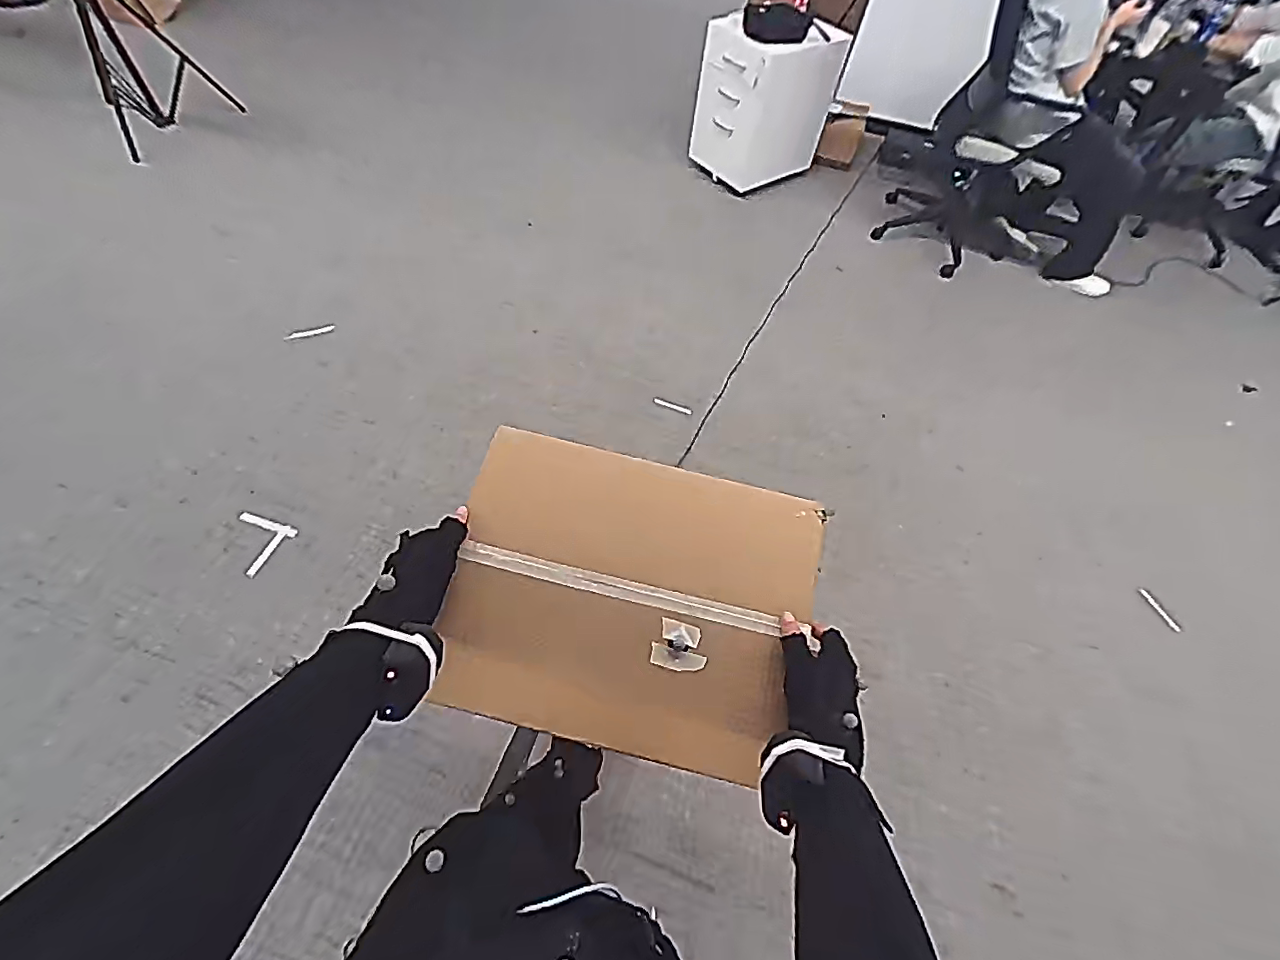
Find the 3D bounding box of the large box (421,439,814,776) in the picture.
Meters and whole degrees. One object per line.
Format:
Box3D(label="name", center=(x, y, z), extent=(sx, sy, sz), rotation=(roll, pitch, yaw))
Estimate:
Box3D(label="large box", center=(-0.019, 0.183, 0.757), extent=(0.408, 0.320, 0.320), rotation=(14, 69, 1))
